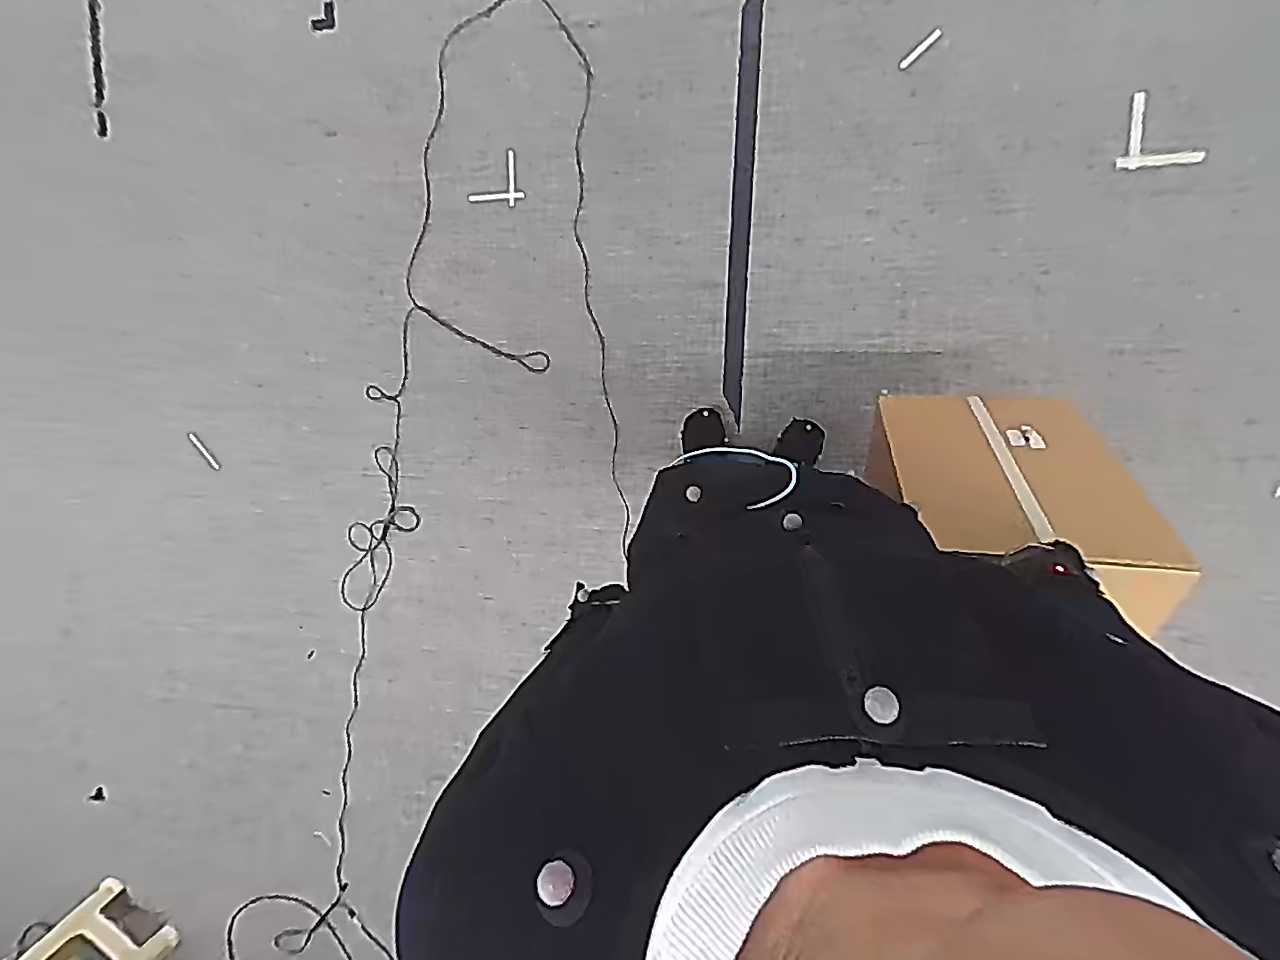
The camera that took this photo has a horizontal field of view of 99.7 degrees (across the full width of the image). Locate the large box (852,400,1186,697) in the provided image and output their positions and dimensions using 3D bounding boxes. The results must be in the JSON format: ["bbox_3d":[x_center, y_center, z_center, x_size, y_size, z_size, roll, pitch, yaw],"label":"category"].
[{"bbox_3d":[0.564,0.098,0.923,0.320,0.408,0.320,3,128,11],"label":"large box"}]
